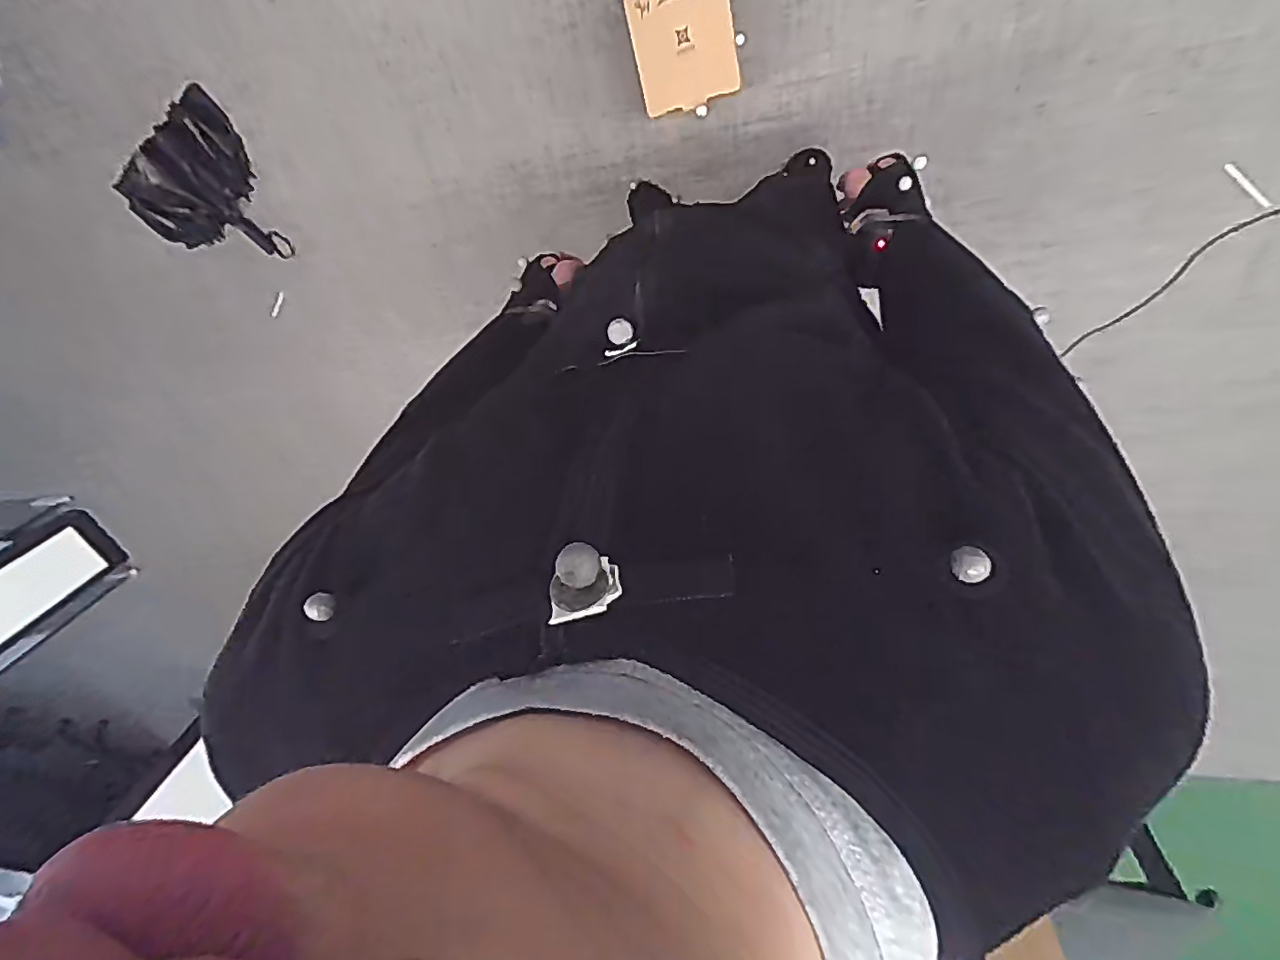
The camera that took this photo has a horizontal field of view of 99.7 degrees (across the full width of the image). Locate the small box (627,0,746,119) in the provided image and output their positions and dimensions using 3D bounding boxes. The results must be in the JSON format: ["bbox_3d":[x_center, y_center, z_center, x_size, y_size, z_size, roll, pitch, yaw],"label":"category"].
[{"bbox_3d":[0.091,-0.763,0.949,0.168,0.176,0.179,-7,124,17],"label":"small box"}]
